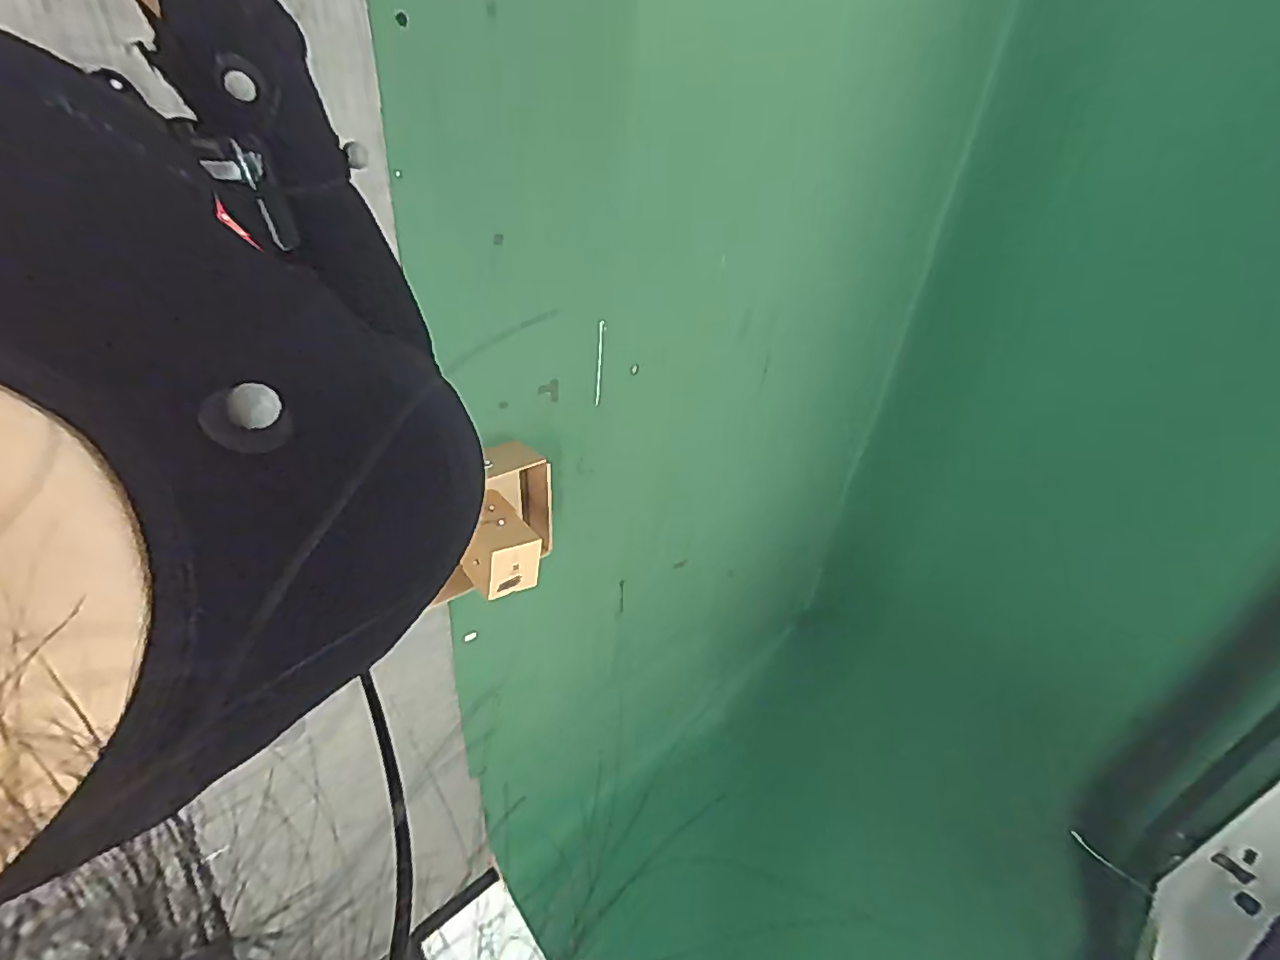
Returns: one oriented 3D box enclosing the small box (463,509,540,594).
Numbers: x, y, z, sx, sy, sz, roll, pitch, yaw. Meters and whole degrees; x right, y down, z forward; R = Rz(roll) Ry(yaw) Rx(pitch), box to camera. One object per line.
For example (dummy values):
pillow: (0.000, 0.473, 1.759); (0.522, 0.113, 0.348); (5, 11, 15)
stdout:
small box: (-0.426, 0.213, 1.647); (0.168, 0.176, 0.179); (-11, 124, -41)

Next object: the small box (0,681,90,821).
small box: (-1.233, 0.534, 1.064); (0.179, 0.176, 0.168); (-19, 127, -37)

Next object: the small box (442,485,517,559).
small box: (-0.525, 0.131, 1.752); (0.179, 0.176, 0.168); (-8, 123, -42)
